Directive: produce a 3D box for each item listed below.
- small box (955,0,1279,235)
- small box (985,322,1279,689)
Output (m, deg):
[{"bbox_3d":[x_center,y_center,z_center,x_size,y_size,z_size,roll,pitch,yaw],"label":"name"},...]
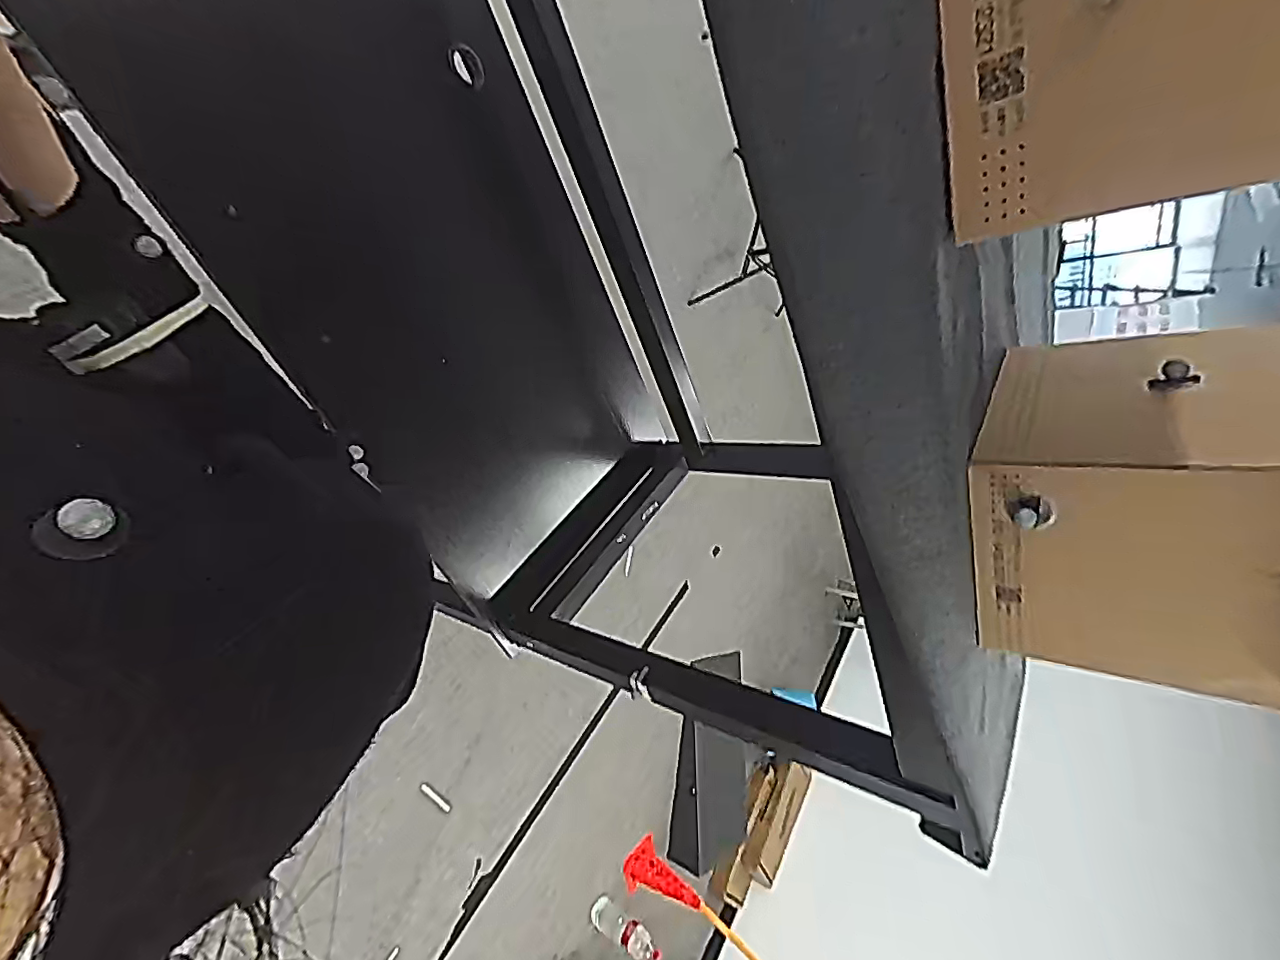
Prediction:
[{"bbox_3d":[0.231,-0.223,0.213,0.179,0.176,0.168,-50,128,-37],"label":"small box"},{"bbox_3d":[0.340,0.012,0.366,0.179,0.176,0.168,-46,126,-39],"label":"small box"}]
